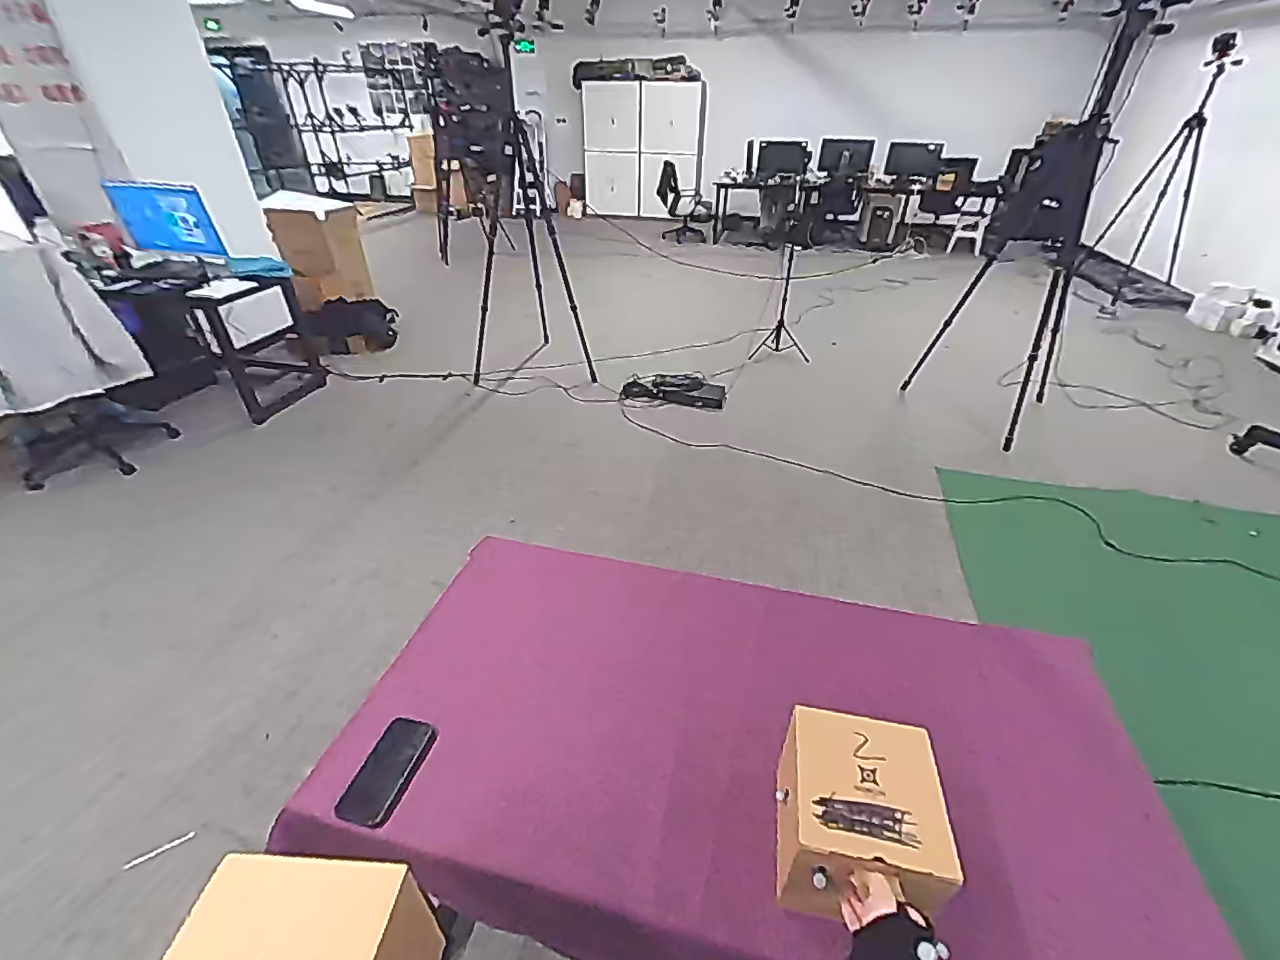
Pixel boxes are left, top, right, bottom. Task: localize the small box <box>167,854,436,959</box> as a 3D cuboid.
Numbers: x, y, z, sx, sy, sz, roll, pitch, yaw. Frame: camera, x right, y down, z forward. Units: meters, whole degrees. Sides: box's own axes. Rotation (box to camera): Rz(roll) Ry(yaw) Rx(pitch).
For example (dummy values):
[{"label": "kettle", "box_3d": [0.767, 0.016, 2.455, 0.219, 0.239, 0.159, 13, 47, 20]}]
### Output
[{"label": "small box", "box_3d": [-0.283, 0.447, 0.443, 0.168, 0.176, 0.179, 3, 34, 3]}]
